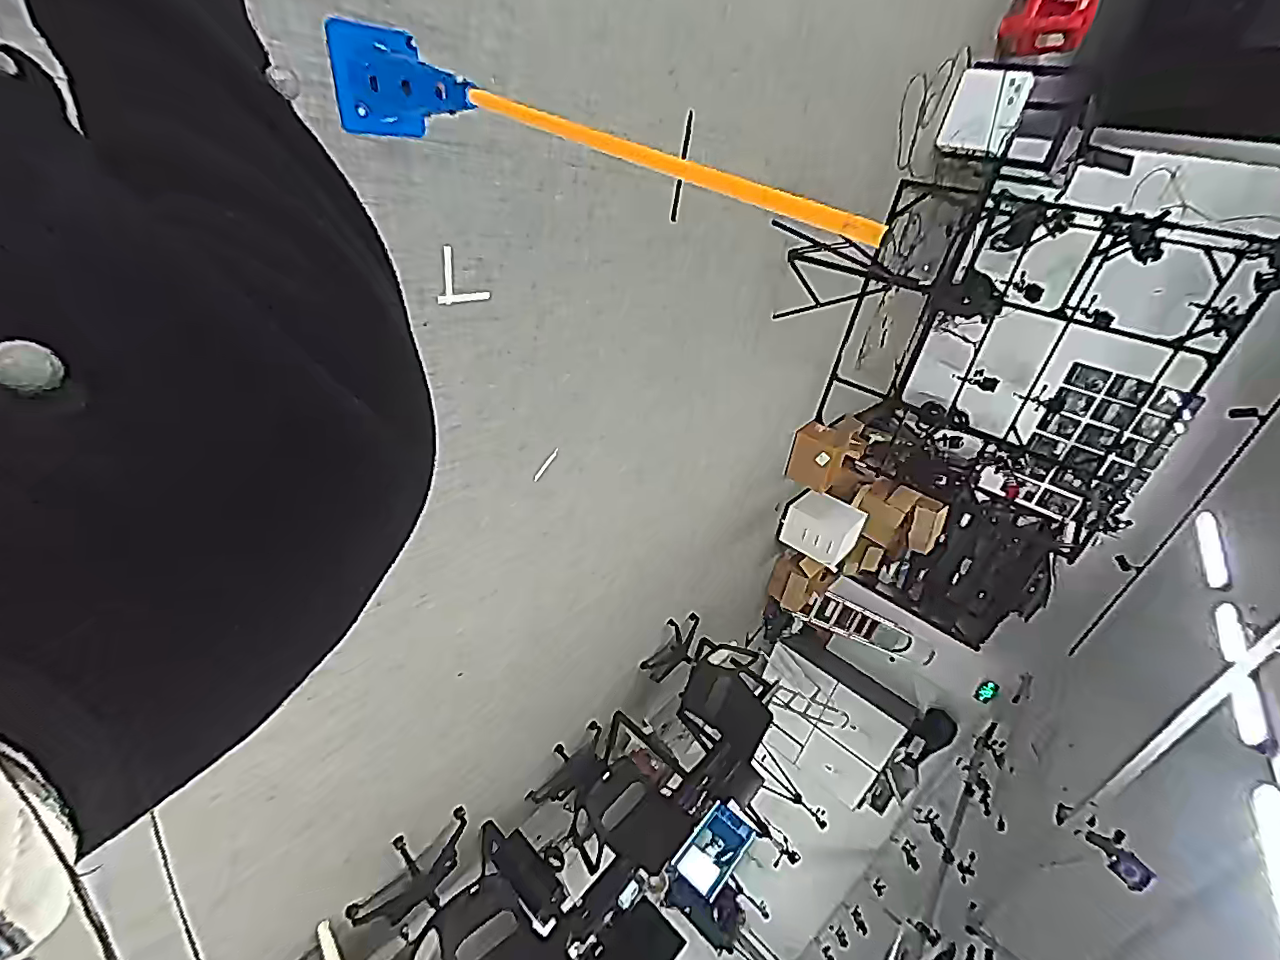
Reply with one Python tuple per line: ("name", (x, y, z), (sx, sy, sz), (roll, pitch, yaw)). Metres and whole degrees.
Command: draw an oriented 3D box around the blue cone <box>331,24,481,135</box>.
("blue cone", (-0.454, -0.814, 1.120), (0.193, 0.380, 0.192), (-28, 136, -43))
